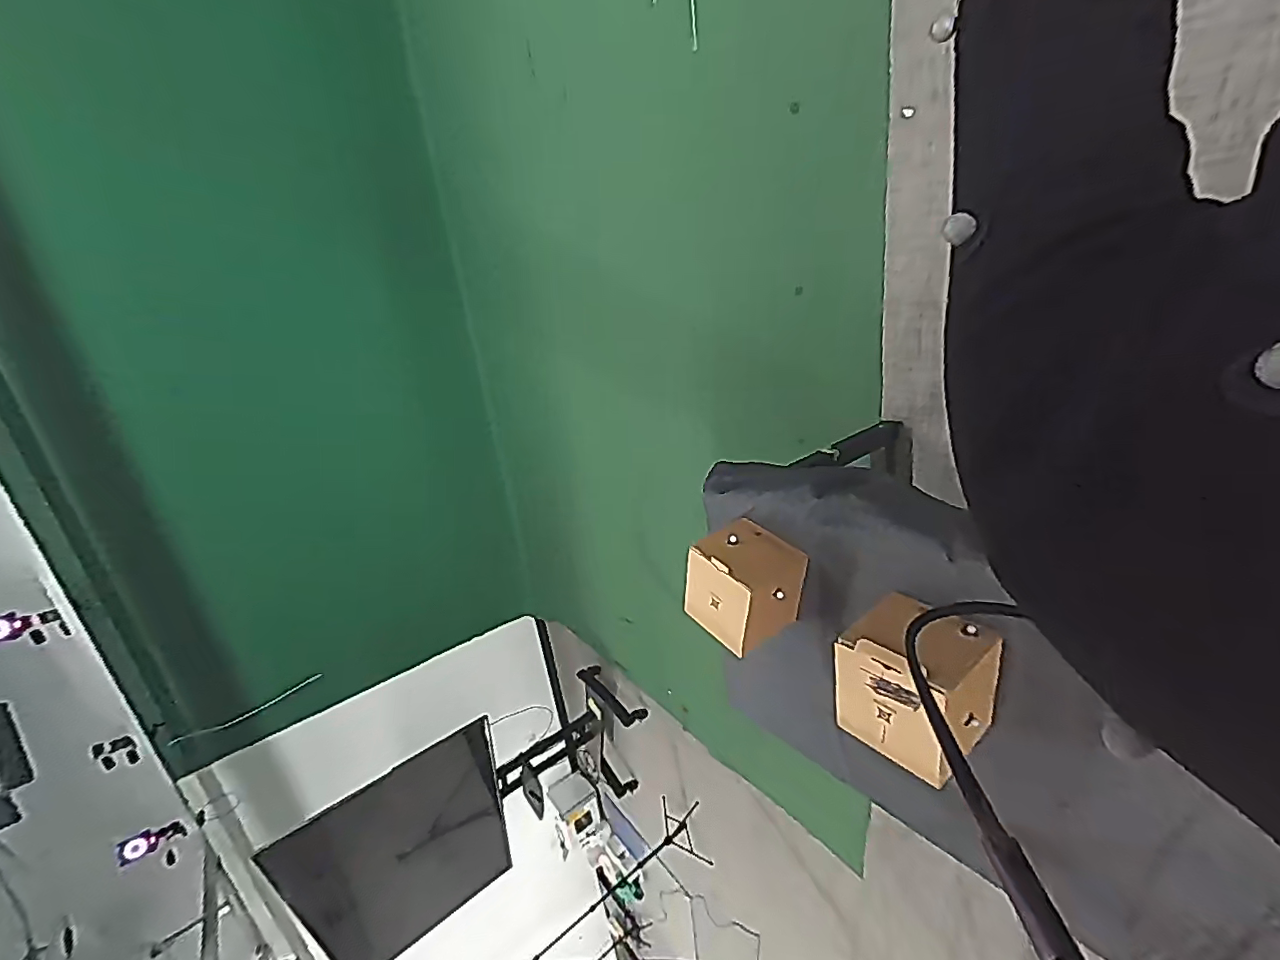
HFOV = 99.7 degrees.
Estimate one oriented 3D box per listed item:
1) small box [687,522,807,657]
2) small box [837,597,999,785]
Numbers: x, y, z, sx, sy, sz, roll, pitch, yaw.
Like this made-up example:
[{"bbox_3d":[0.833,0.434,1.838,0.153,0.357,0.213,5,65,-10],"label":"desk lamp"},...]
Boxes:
[{"bbox_3d":[0.215,0.211,1.093,0.168,0.176,0.179,34,135,44],"label":"small box"},{"bbox_3d":[0.426,0.309,0.835,0.168,0.176,0.179,19,125,51],"label":"small box"}]
